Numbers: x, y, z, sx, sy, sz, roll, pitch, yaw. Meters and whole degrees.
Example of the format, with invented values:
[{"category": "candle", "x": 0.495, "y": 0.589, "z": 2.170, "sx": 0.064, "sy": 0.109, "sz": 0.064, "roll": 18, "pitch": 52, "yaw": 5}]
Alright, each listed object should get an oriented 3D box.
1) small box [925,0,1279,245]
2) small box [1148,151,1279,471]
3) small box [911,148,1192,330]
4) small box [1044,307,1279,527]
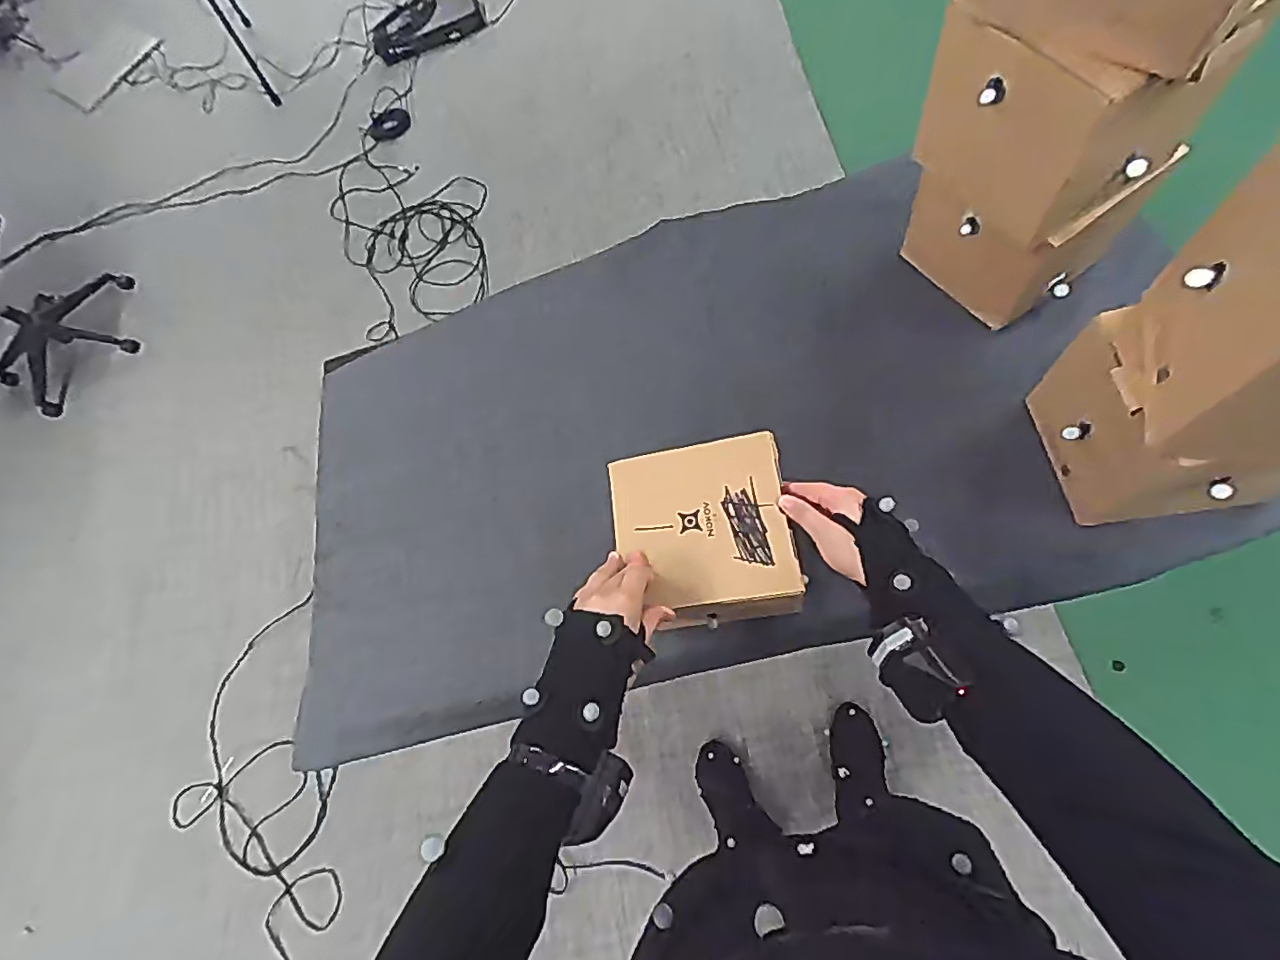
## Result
[{"category": "small box", "x": 0.398, "y": -0.361, "z": 0.497, "sx": 0.168, "sy": 0.176, "sz": 0.179, "roll": -33, "pitch": 67, "yaw": 5}, {"category": "small box", "x": 0.506, "y": -0.107, "z": 0.378, "sx": 0.179, "sy": 0.176, "sz": 0.168, "roll": 11, "pitch": 71, "yaw": 18}, {"category": "small box", "x": 0.459, "y": -0.317, "z": 0.645, "sx": 0.168, "sy": 0.176, "sz": 0.179, "roll": -37, "pitch": 69, "yaw": 3}, {"category": "small box", "x": 0.539, "y": -0.061, "z": 0.533, "sx": 0.179, "sy": 0.176, "sz": 0.168, "roll": -10, "pitch": 66, "yaw": 12}]
